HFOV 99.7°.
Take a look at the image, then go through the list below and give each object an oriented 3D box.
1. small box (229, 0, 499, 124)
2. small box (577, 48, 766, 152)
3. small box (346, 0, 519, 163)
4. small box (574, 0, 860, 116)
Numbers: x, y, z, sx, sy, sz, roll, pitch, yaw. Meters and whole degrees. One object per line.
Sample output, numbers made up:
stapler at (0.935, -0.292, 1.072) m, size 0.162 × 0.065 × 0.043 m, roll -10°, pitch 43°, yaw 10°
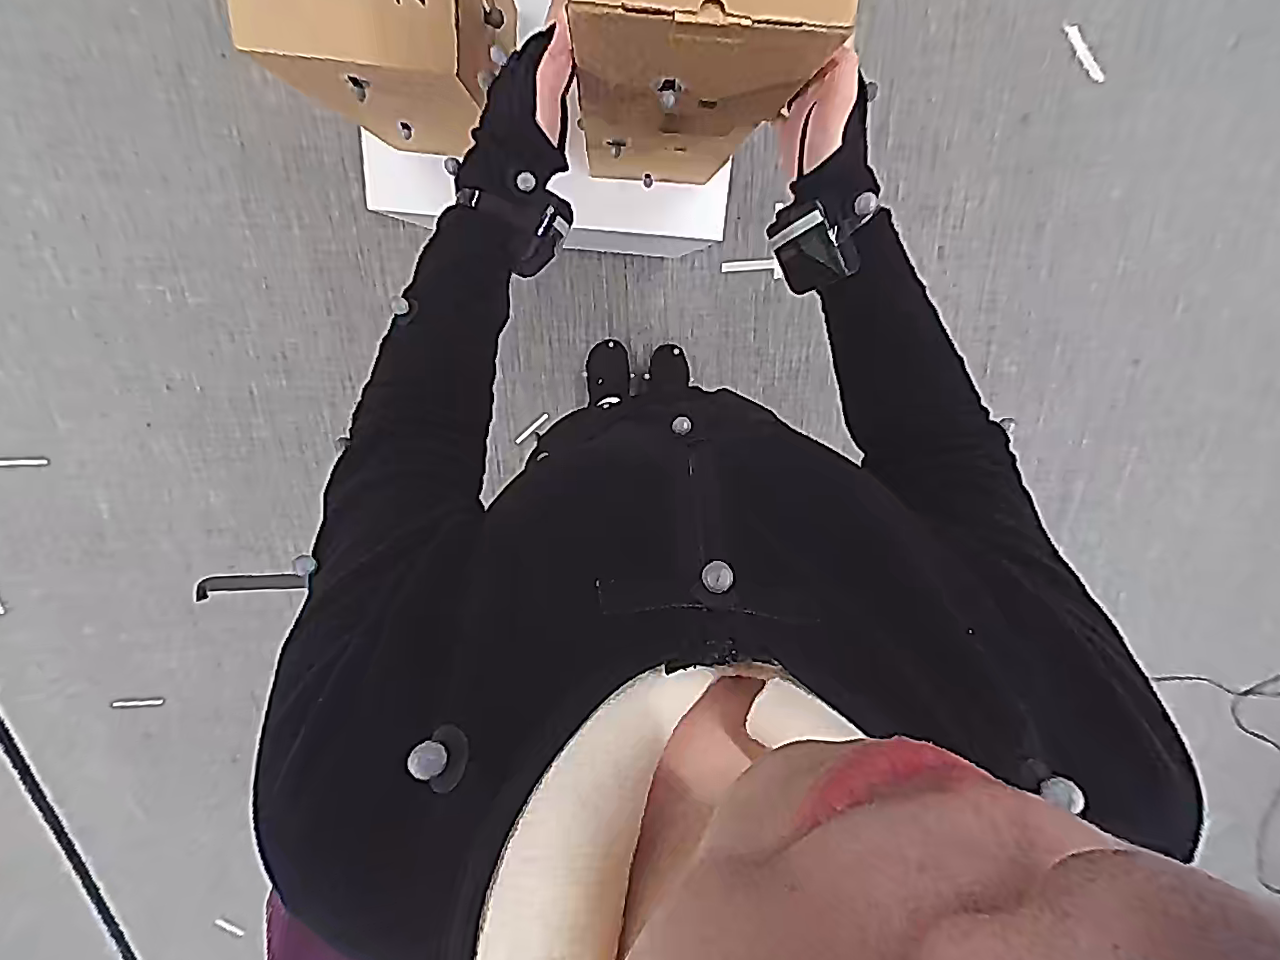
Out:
small box at (-0.229, -0.437, 0.479) m, size 0.179 × 0.176 × 0.168 m, roll 3°, pitch 111°, yaw -5°
small box at (0.031, -0.423, 0.502) m, size 0.168 × 0.176 × 0.179 m, roll 2°, pitch 109°, yaw -4°
small box at (-0.238, -0.497, 0.632) m, size 0.168 × 0.176 × 0.179 m, roll 4°, pitch 109°, yaw -5°
small box at (0.042, -0.366, 0.350) m, size 0.168 × 0.176 × 0.179 m, roll 1°, pitch 111°, yaw -4°
